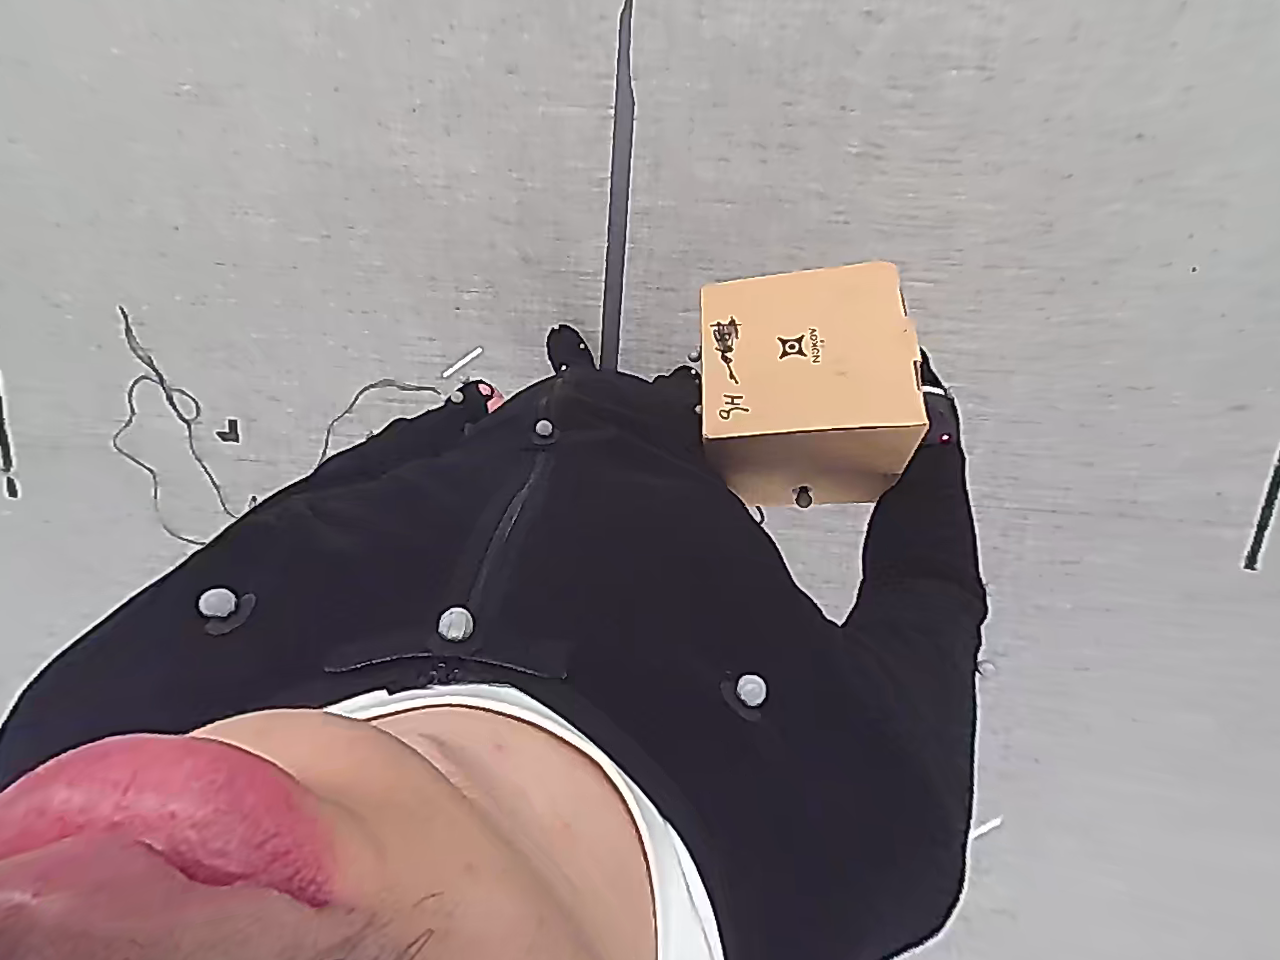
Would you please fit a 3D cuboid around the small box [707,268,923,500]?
[{"bbox_3d":[0.161,-0.085,0.550,0.179,0.176,0.168,-2,66,11],"label":"small box"}]
